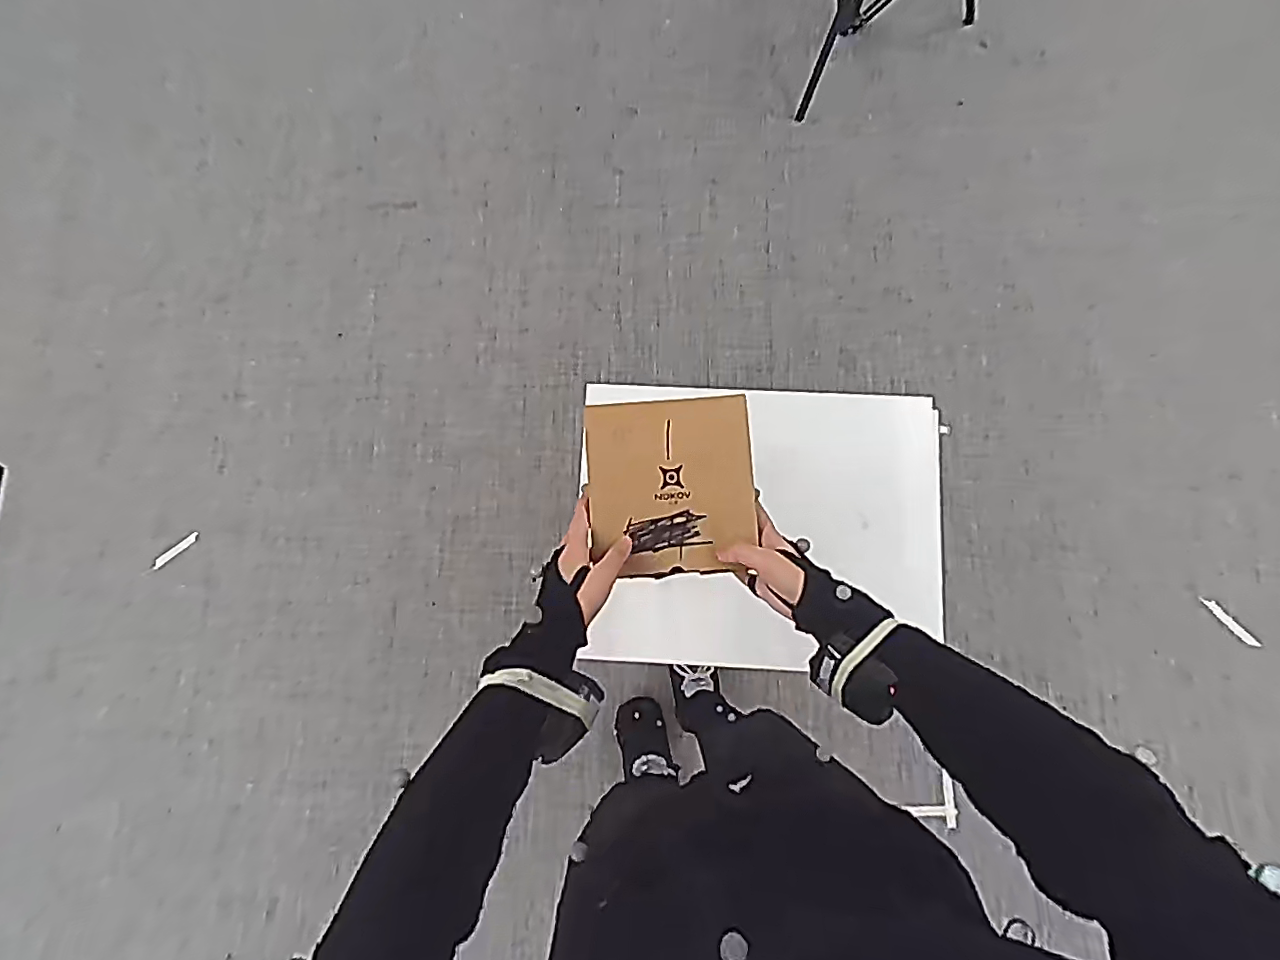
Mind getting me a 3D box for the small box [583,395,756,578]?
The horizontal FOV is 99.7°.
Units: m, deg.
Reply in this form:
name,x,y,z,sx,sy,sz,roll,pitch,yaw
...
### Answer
name,x,y,z,sx,sy,sz,roll,pitch,yaw
small box,0.031,0.011,0.612,0.168,0.176,0.179,-4,85,1
